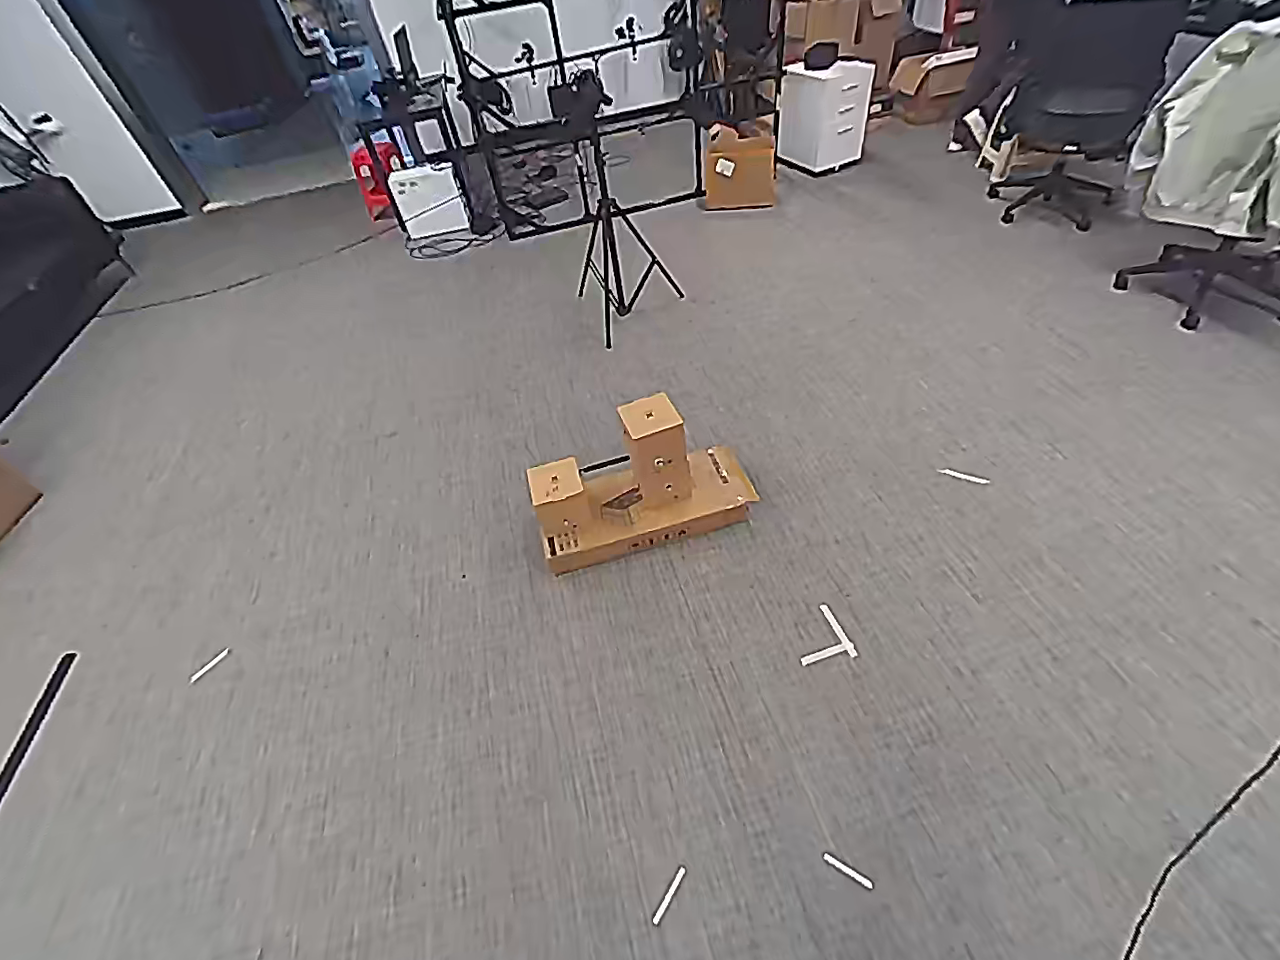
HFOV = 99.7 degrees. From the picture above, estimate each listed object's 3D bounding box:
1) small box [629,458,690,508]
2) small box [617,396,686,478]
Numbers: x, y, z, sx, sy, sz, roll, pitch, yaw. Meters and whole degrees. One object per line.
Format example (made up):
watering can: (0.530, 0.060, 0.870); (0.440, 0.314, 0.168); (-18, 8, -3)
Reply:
small box: (0.066, -0.025, 1.847); (0.168, 0.176, 0.179); (-17, 47, -7)
small box: (0.038, -0.136, 1.730); (0.168, 0.176, 0.179); (-20, 47, -9)
